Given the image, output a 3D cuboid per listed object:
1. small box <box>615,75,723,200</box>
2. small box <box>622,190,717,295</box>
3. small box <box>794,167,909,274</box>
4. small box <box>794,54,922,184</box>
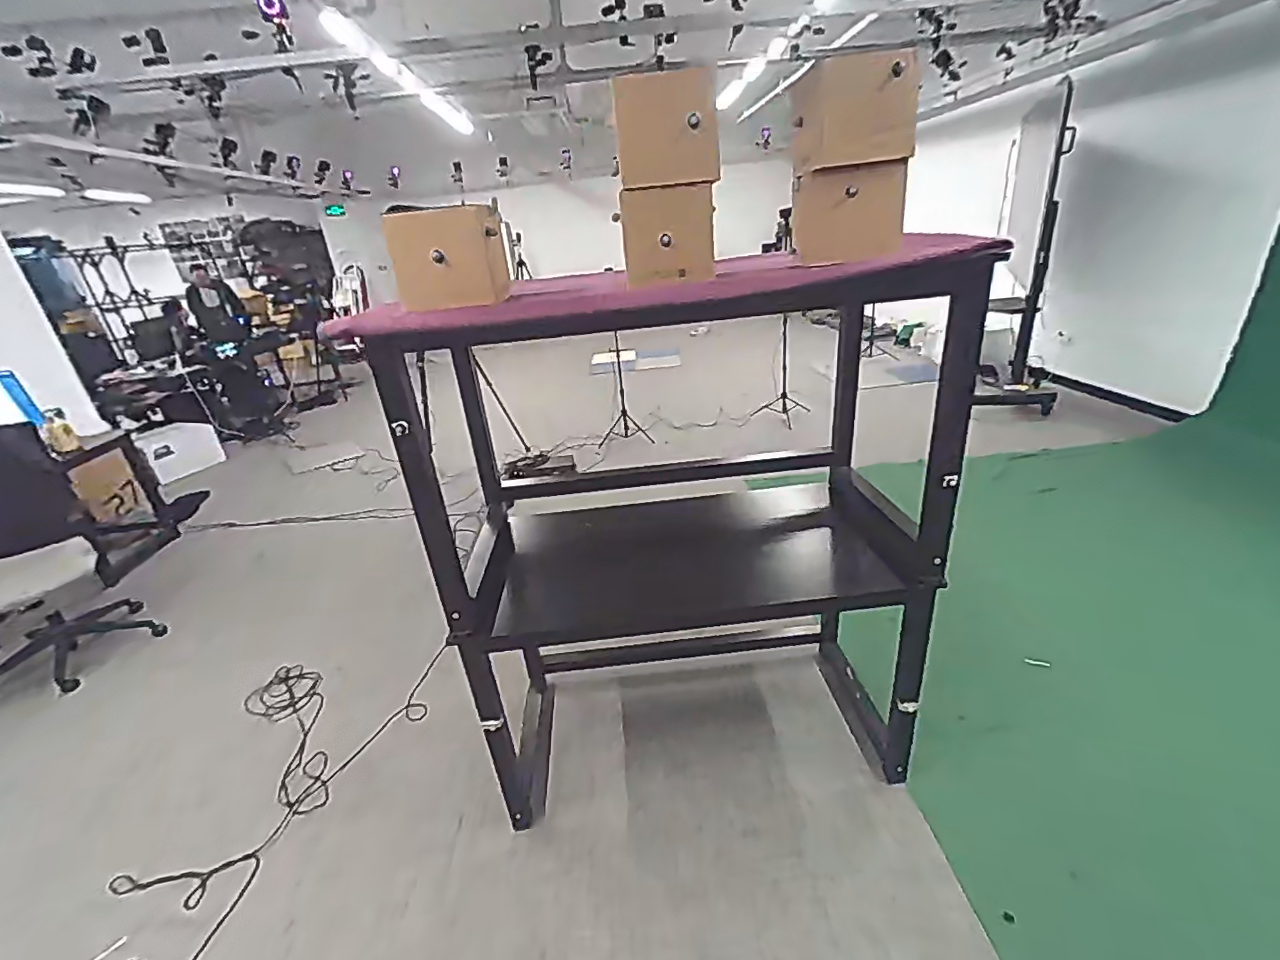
[{"bbox_3d":[0.053,-0.602,0.977,0.179,0.176,0.168,-6,24,2],"label":"small box"},{"bbox_3d":[0.056,-0.458,1.055,0.168,0.176,0.179,-4,24,1],"label":"small box"},{"bbox_3d":[0.415,-0.511,1.083,0.179,0.176,0.168,-4,23,5],"label":"small box"},{"bbox_3d":[0.395,-0.653,1.007,0.179,0.176,0.168,-6,23,1],"label":"small box"}]
